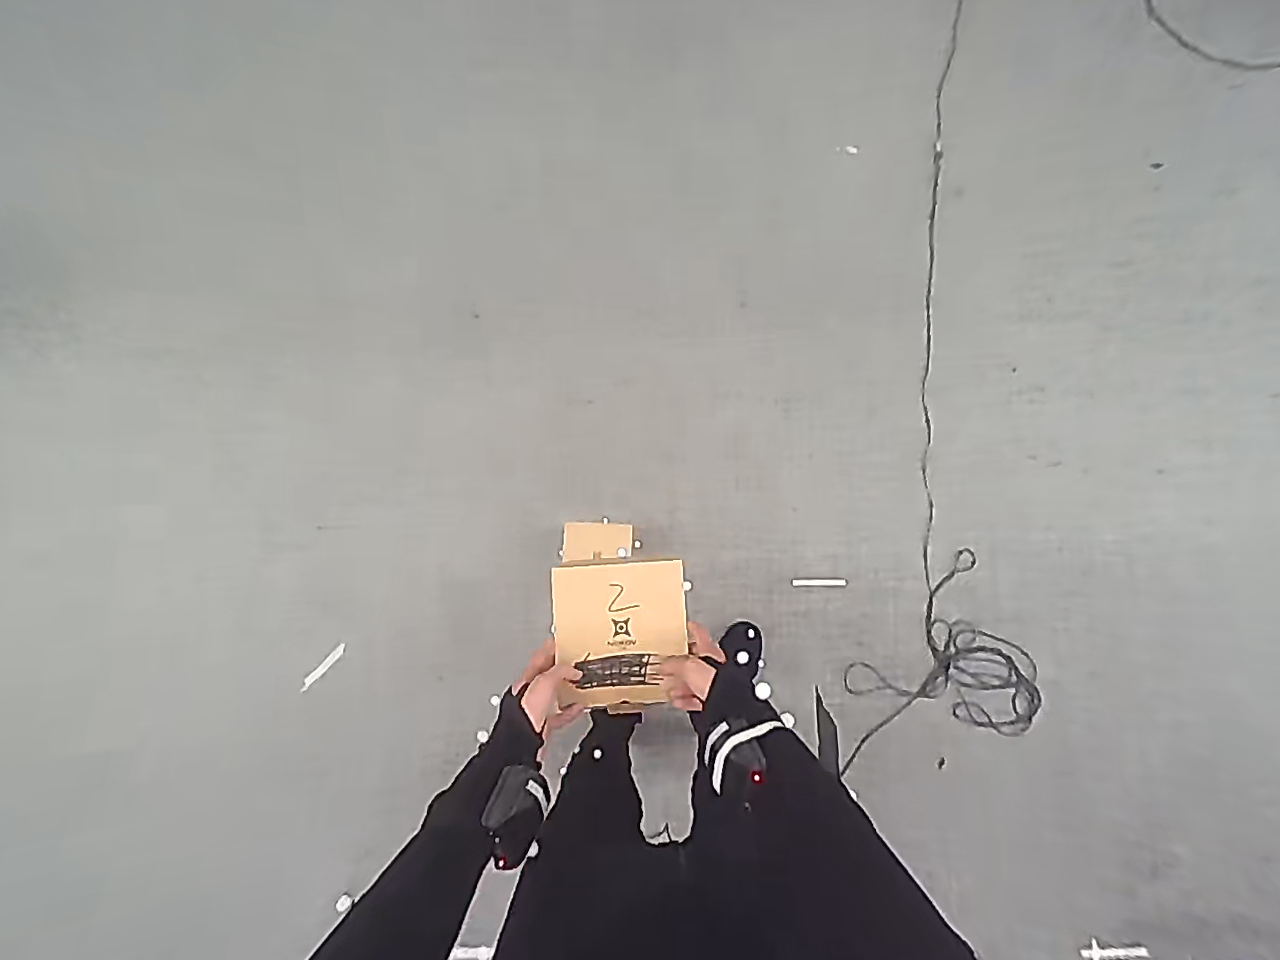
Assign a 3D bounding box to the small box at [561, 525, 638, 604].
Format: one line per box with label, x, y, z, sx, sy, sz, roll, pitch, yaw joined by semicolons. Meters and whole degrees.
small box;-0.094;0.209;1.354;0.168;0.176;0.179;3;83;4
